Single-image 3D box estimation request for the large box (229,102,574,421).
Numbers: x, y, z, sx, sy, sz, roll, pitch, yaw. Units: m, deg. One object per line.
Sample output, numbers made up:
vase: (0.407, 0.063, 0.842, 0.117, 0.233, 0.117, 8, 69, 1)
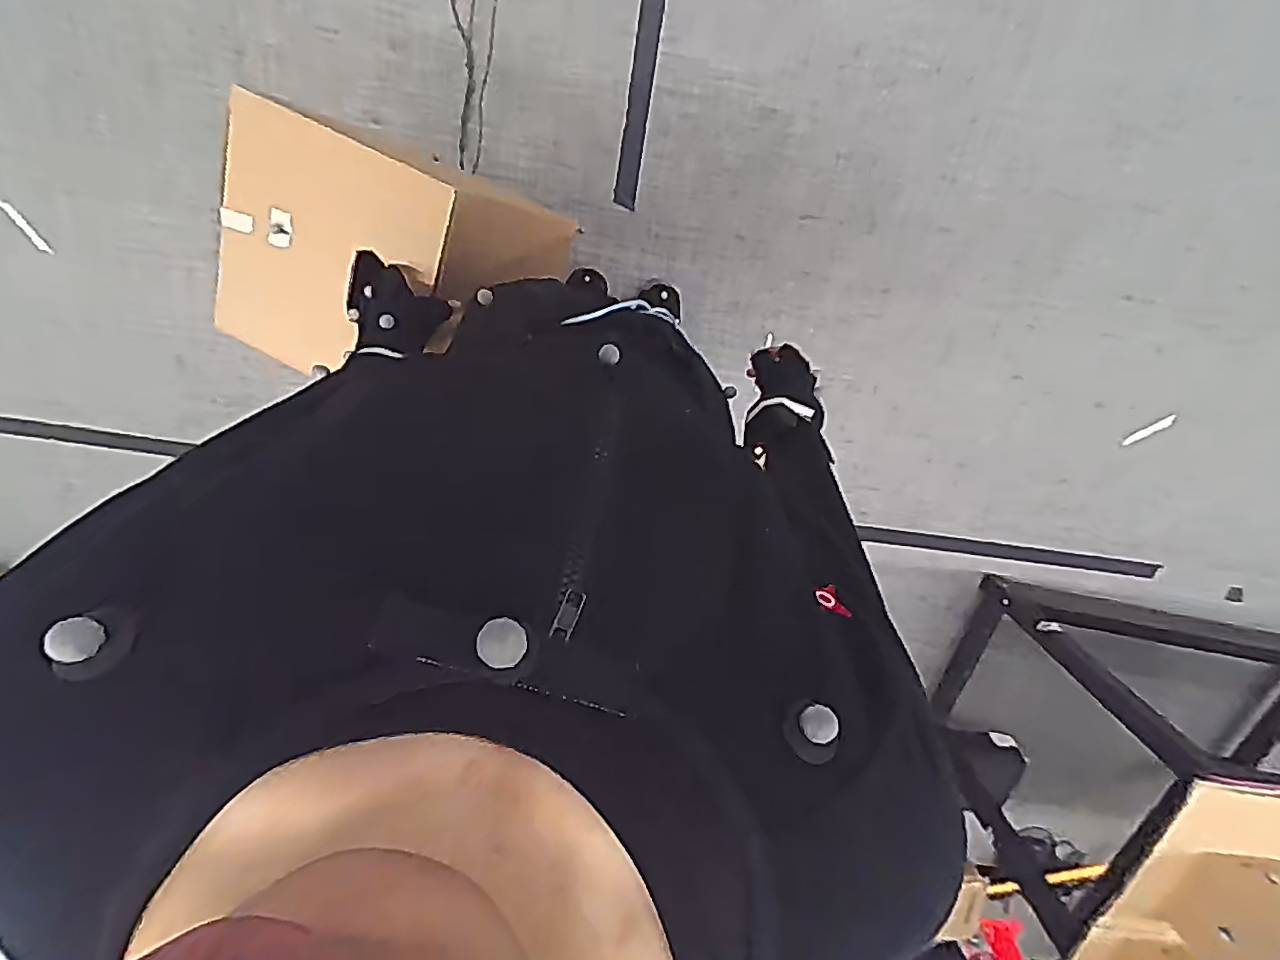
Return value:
large box: (-0.360, -0.341, 0.881, 0.320, 0.408, 0.320, 28, 114, 3)
